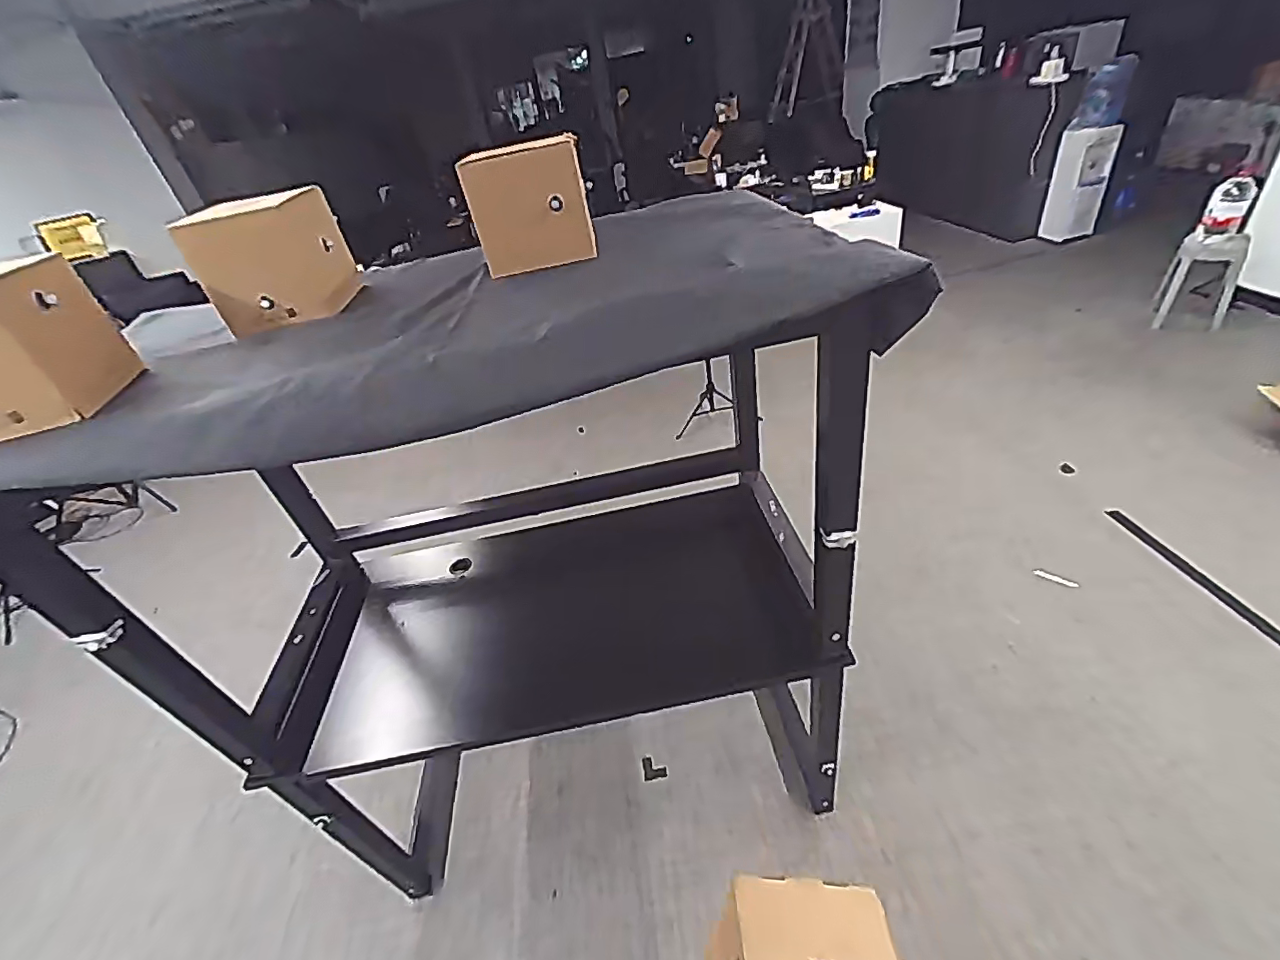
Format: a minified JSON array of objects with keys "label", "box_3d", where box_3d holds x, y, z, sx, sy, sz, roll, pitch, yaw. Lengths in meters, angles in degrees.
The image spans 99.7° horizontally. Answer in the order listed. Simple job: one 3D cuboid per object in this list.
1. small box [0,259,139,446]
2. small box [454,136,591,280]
[{"label":"small box","box_3d":[-0.792,-0.156,0.675,0.168,0.176,0.179,-17,38,-8]},{"label":"small box","box_3d":[-0.179,-0.448,0.891,0.179,0.176,0.168,-11,35,1]}]
